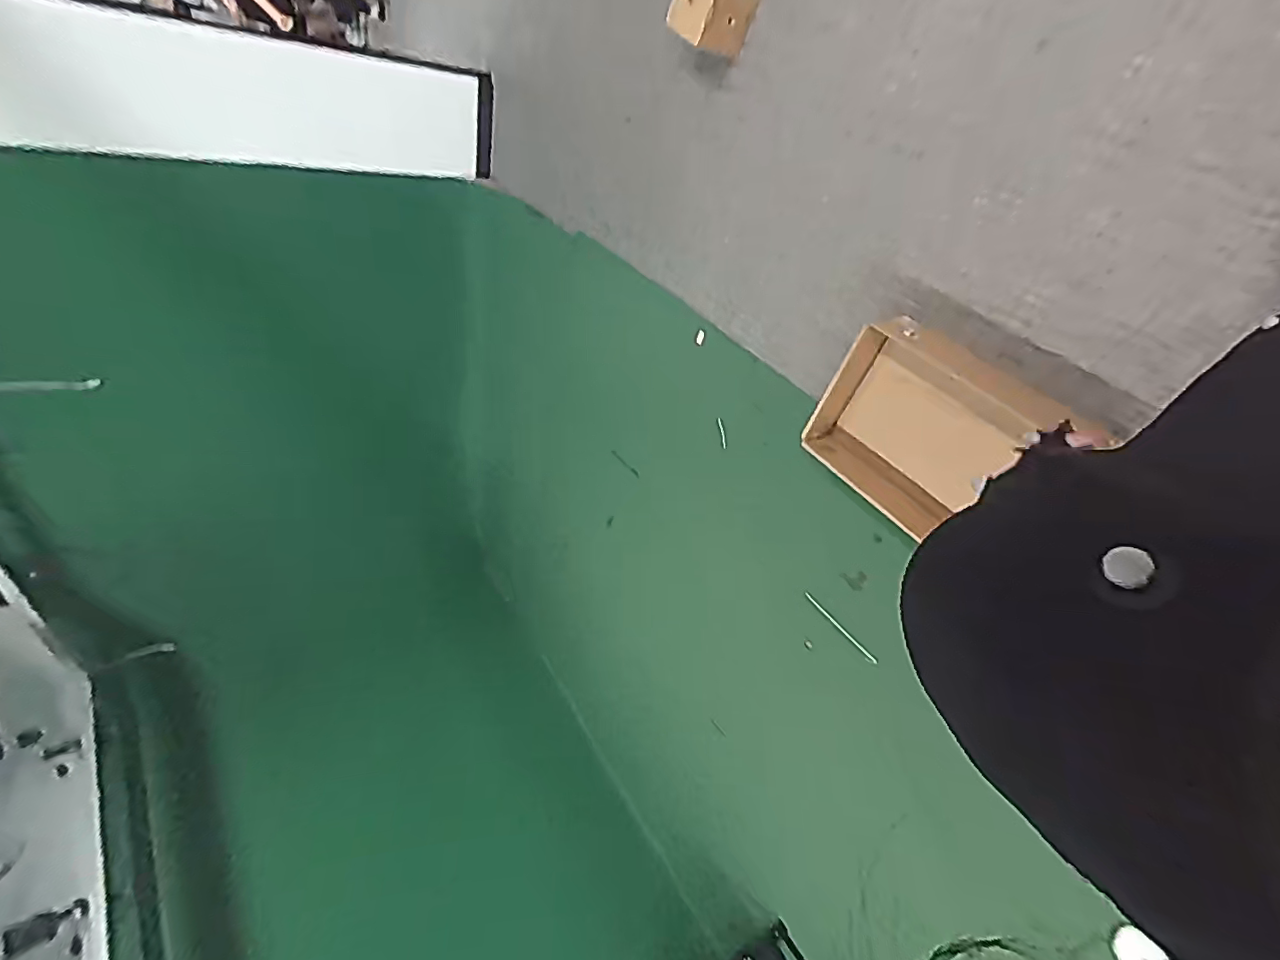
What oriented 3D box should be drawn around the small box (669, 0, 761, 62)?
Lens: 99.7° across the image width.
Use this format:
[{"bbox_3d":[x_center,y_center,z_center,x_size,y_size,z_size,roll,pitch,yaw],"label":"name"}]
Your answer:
[{"bbox_3d":[0.221,-1.371,1.594,0.179,0.176,0.168,55,141,22],"label":"small box"}]
